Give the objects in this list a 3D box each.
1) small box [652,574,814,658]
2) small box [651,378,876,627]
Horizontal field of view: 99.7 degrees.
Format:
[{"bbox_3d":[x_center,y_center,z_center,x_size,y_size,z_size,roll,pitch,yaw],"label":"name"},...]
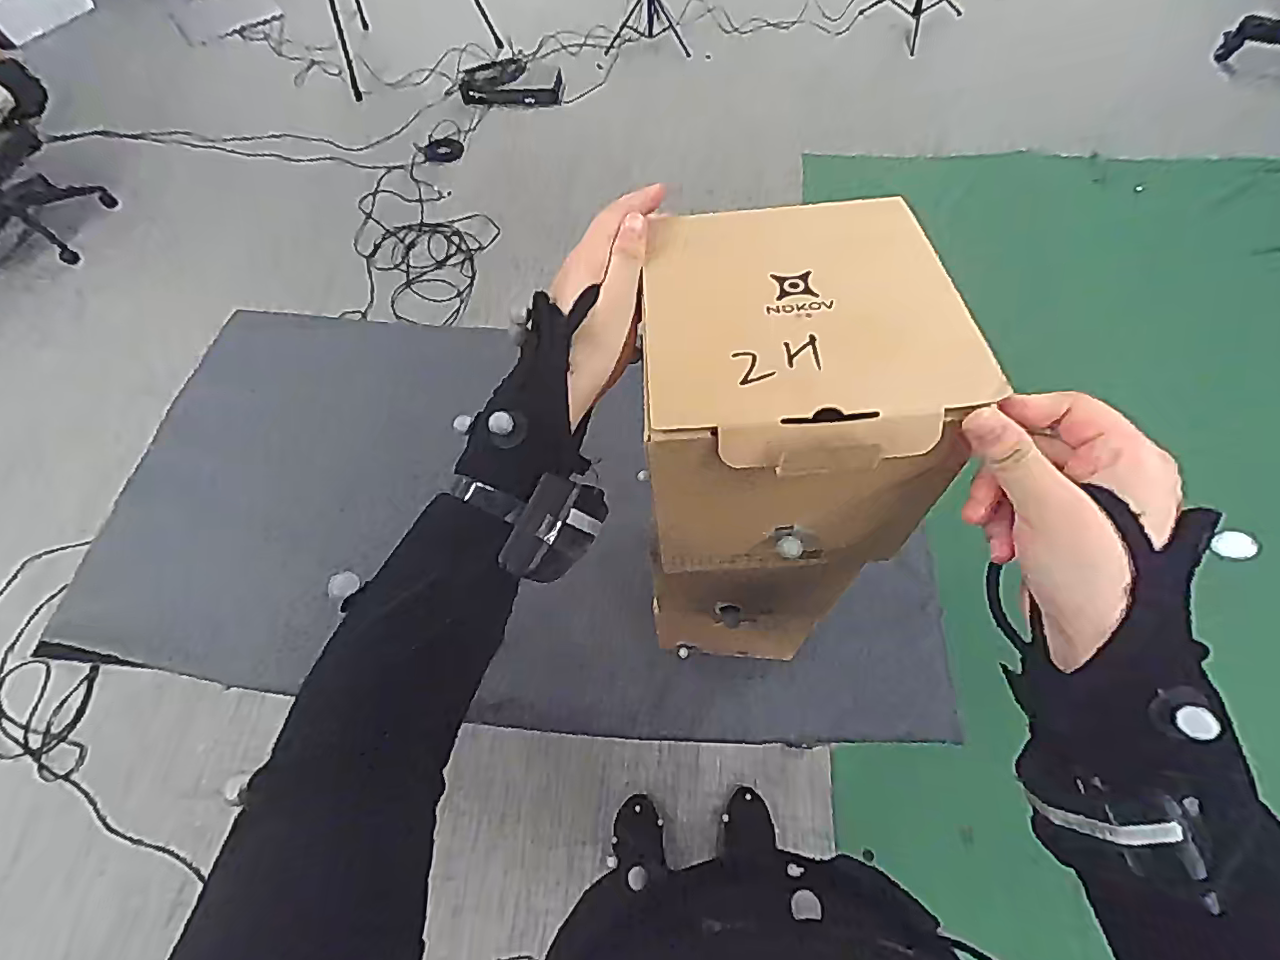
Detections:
[{"bbox_3d":[0.108,0.104,0.646,0.168,0.176,0.179,3,59,6],"label":"small box"},{"bbox_3d":[0.098,0.026,0.505,0.168,0.176,0.179,-1,60,5],"label":"small box"}]
